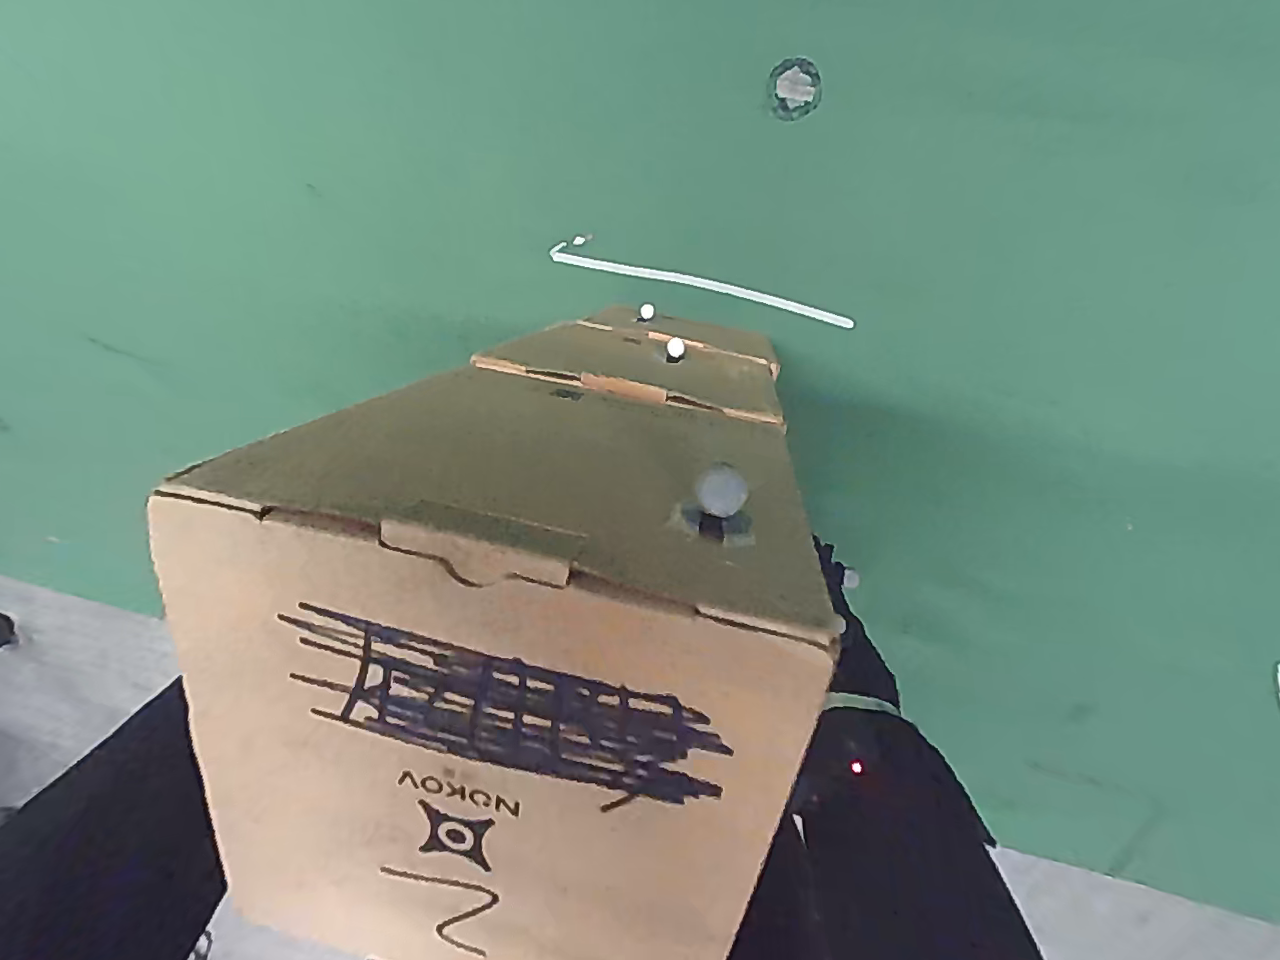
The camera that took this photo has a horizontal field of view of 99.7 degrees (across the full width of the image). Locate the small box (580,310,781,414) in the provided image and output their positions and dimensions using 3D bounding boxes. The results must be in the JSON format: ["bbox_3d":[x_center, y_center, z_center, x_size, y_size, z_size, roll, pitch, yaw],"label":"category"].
[{"bbox_3d":[0.026,-0.059,0.526,0.168,0.176,0.179,13,114,5],"label":"small box"}]

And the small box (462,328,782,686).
[{"bbox_3d":[-0.008,0.003,0.380,0.168,0.176,0.179,13,112,5],"label":"small box"}]
